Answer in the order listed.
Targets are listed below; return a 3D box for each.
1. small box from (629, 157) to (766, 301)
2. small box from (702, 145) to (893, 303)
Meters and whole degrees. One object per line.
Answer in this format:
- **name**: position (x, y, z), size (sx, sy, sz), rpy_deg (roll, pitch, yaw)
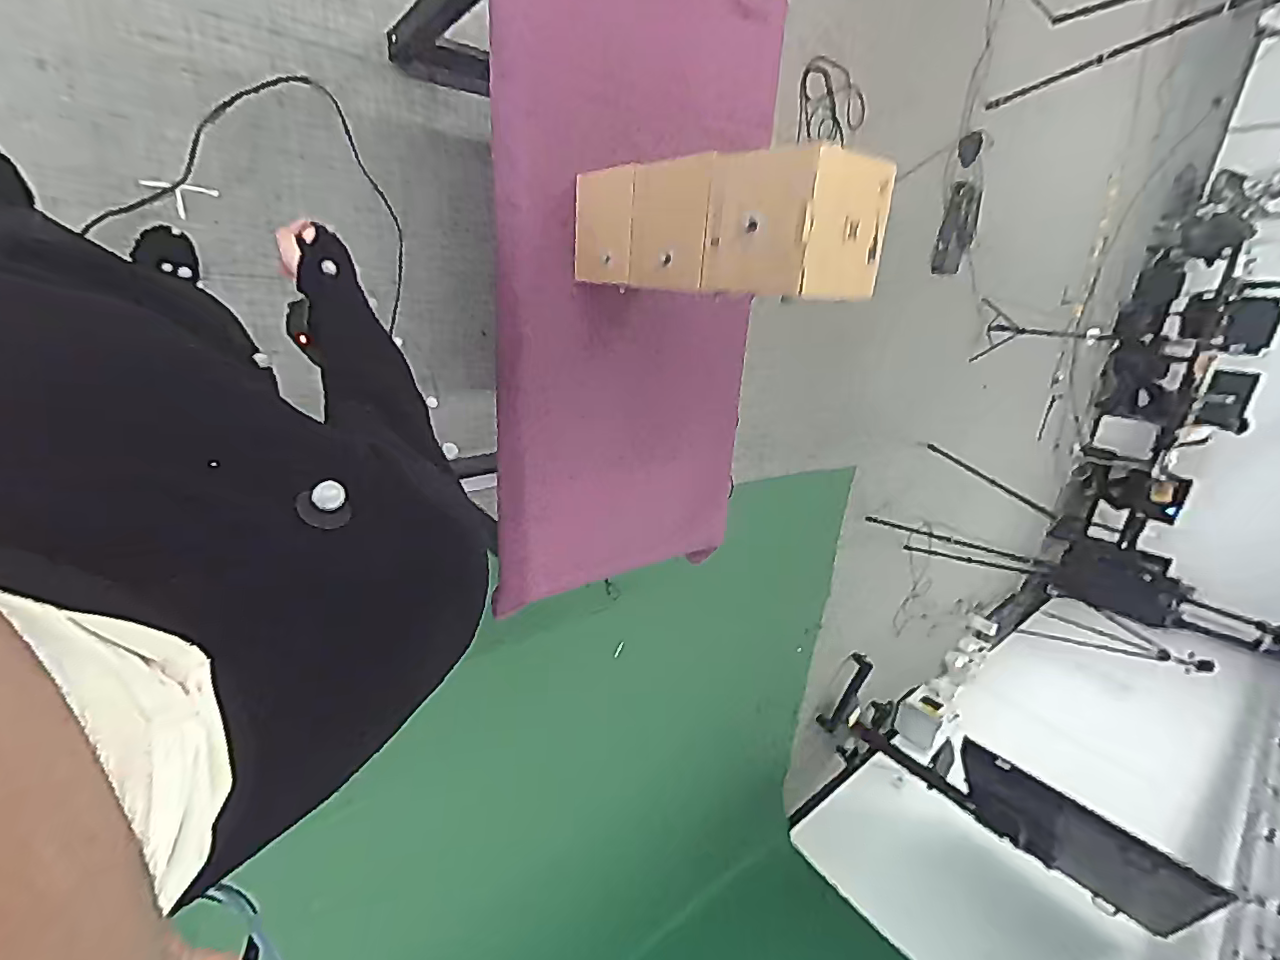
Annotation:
- **small box**: position (0.097, -0.381, 0.843), size (0.168, 0.176, 0.179), rpy_deg (-12, 115, -38)
- **small box**: position (0.204, -0.332, 0.730), size (0.179, 0.176, 0.168), rpy_deg (-13, 117, -37)
